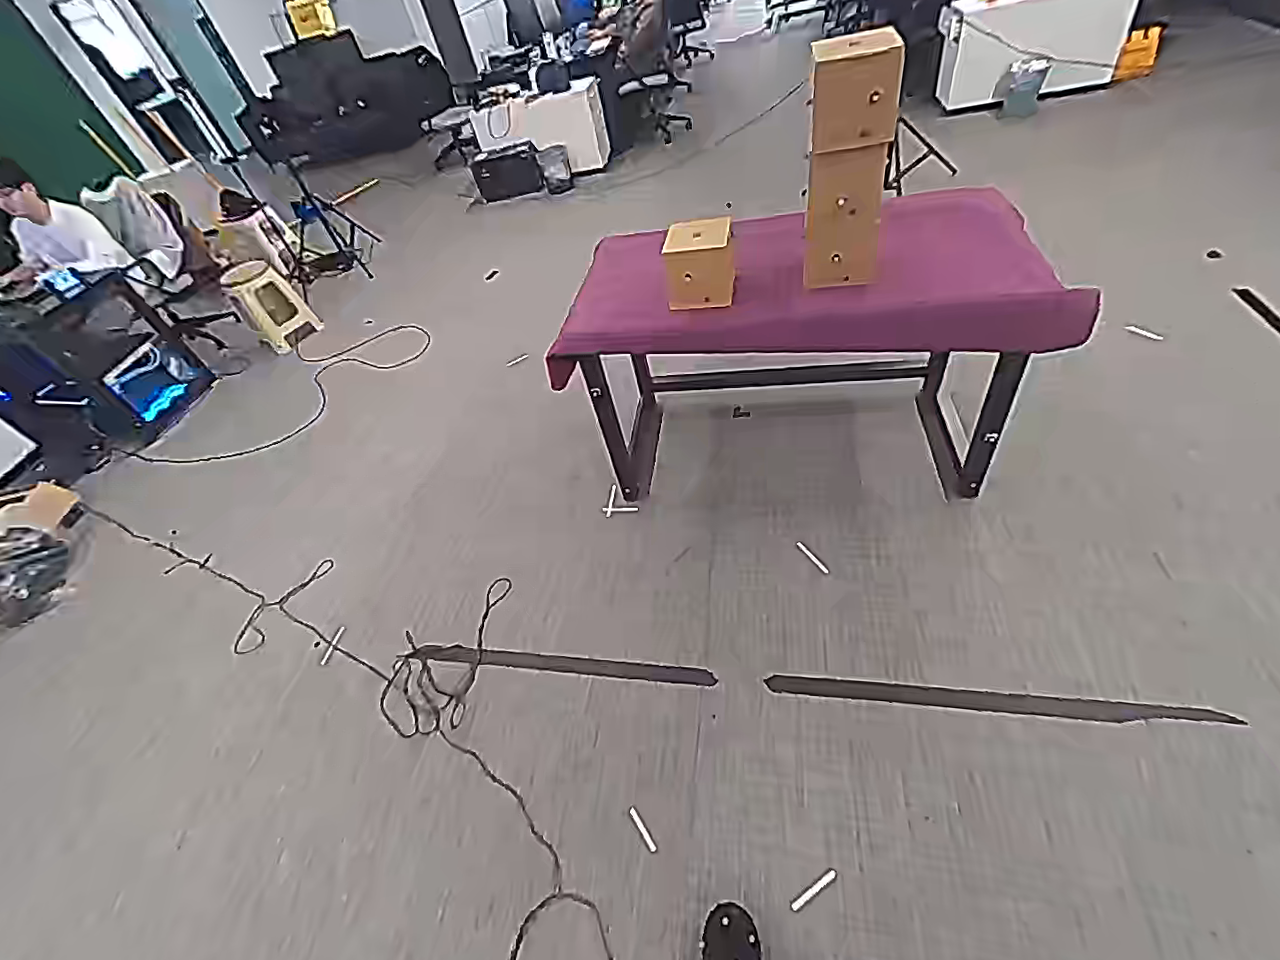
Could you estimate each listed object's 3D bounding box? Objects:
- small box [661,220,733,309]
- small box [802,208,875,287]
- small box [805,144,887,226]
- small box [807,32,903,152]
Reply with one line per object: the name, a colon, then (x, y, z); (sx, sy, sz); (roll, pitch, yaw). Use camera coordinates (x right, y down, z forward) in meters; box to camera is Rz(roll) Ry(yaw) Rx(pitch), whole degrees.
small box: (0.161, -0.574, 1.458); (0.168, 0.176, 0.179); (0, 47, 15)
small box: (0.510, -0.614, 1.401); (0.168, 0.176, 0.179); (2, 48, 16)
small box: (0.482, -0.727, 1.286); (0.168, 0.176, 0.179); (1, 49, 16)
small box: (0.449, -0.820, 1.155); (0.168, 0.176, 0.179); (-1, 47, 13)
